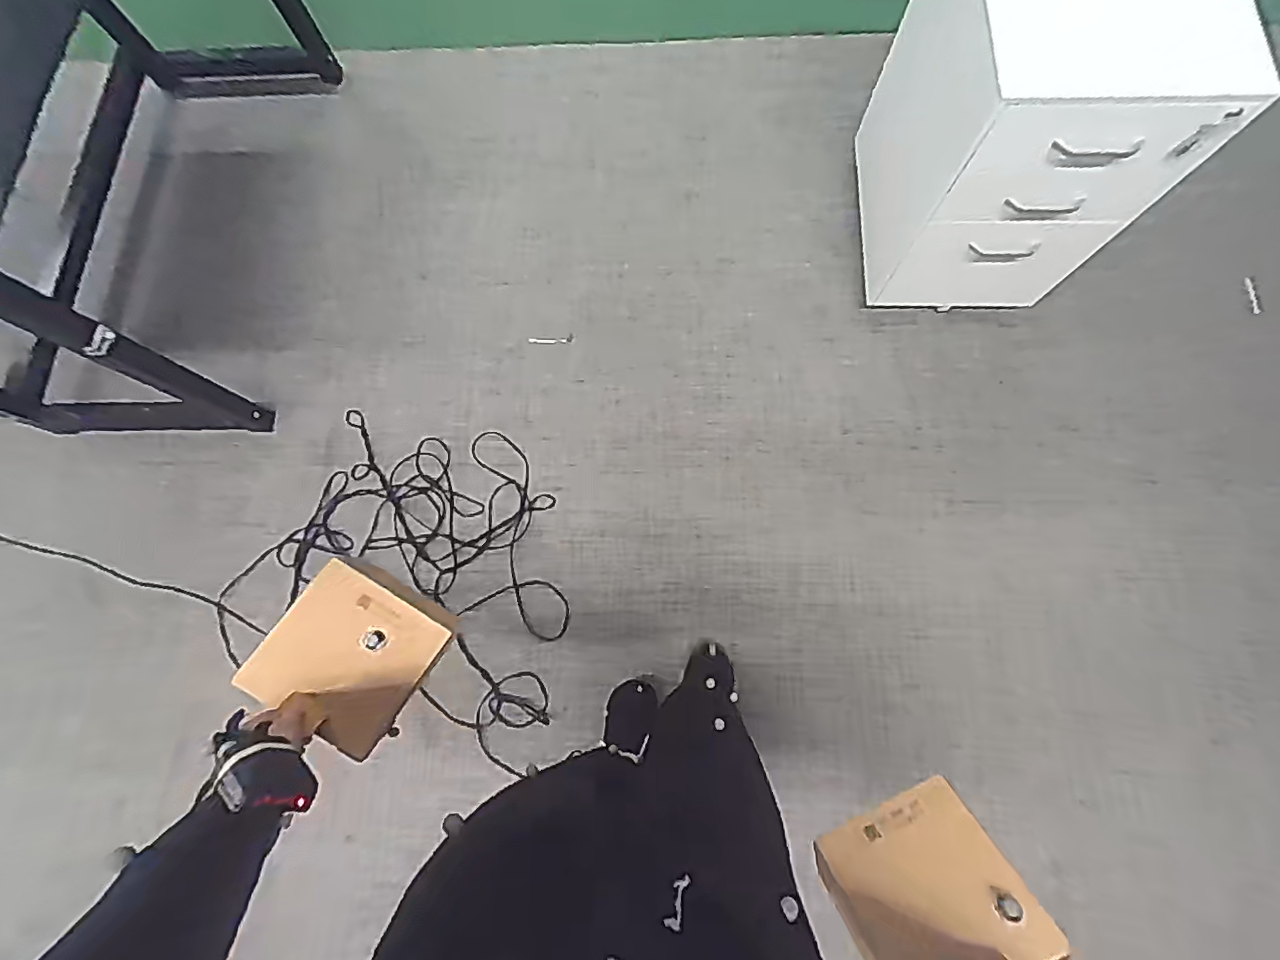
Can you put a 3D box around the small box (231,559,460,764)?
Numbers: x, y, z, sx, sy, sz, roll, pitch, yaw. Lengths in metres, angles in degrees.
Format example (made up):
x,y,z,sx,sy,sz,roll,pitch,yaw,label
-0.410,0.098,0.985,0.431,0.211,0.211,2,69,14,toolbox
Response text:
x,y,z,sx,sy,sz,roll,pitch,yaw,label
-0.347,0.211,0.684,0.168,0.179,0.176,36,75,-6,small box
